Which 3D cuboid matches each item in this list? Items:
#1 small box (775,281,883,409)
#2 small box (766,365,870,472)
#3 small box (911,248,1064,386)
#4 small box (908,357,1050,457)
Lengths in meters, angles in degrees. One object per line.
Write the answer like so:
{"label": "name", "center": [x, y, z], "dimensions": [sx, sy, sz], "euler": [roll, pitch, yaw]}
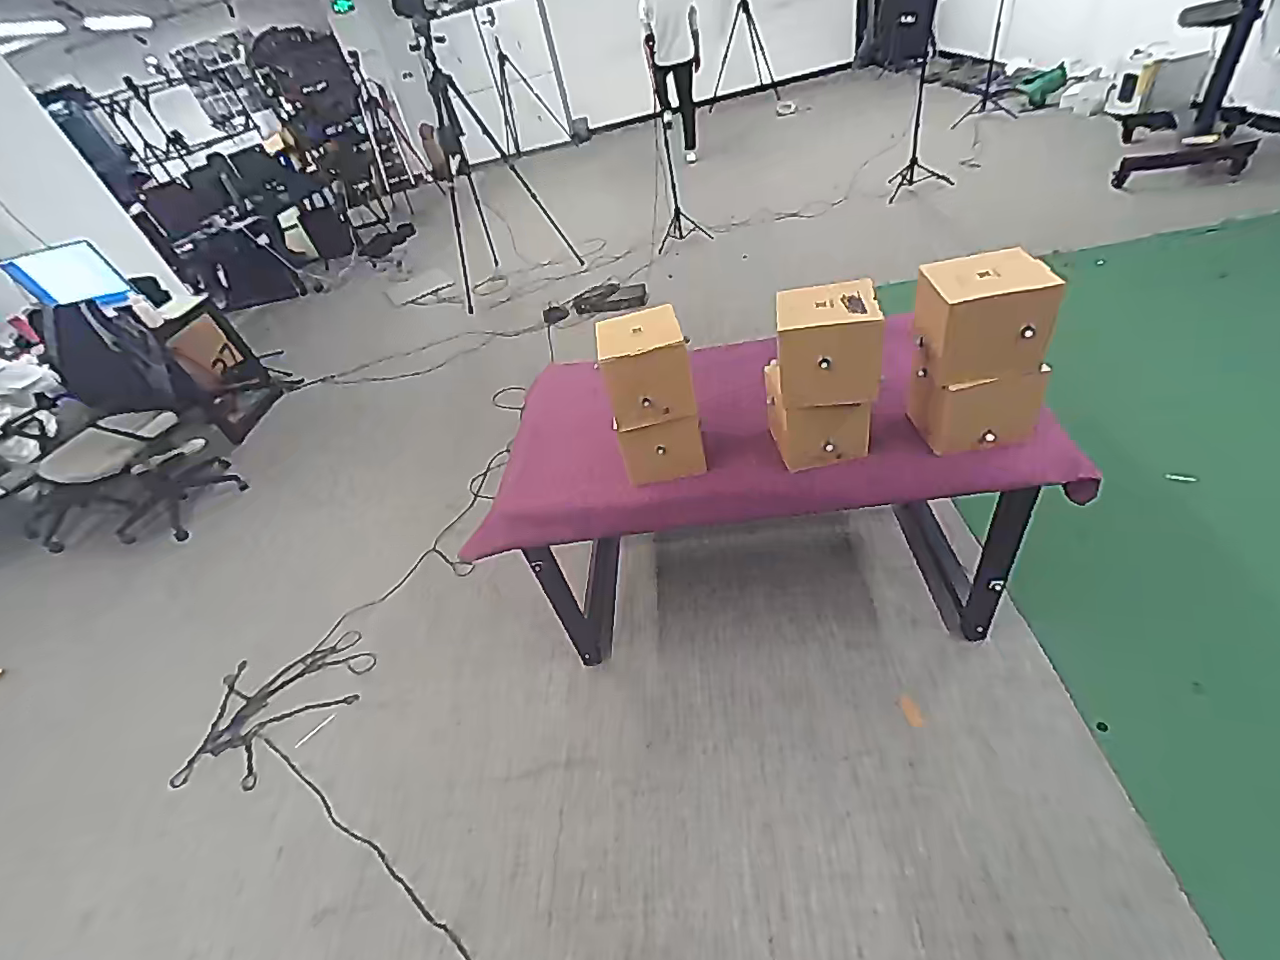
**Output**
{"label": "small box", "center": [0.351, -0.251, 1.023], "dimensions": [0.179, 0.176, 0.168], "euler": [-3, 41, 17]}
{"label": "small box", "center": [0.371, -0.143, 1.148], "dimensions": [0.168, 0.176, 0.179], "euler": [-12, 40, 6]}
{"label": "small box", "center": [0.613, -0.291, 0.981], "dimensions": [0.179, 0.176, 0.168], "euler": [-7, 41, 12]}
{"label": "small box", "center": [0.660, -0.169, 1.080], "dimensions": [0.179, 0.176, 0.168], "euler": [-11, 41, 7]}
